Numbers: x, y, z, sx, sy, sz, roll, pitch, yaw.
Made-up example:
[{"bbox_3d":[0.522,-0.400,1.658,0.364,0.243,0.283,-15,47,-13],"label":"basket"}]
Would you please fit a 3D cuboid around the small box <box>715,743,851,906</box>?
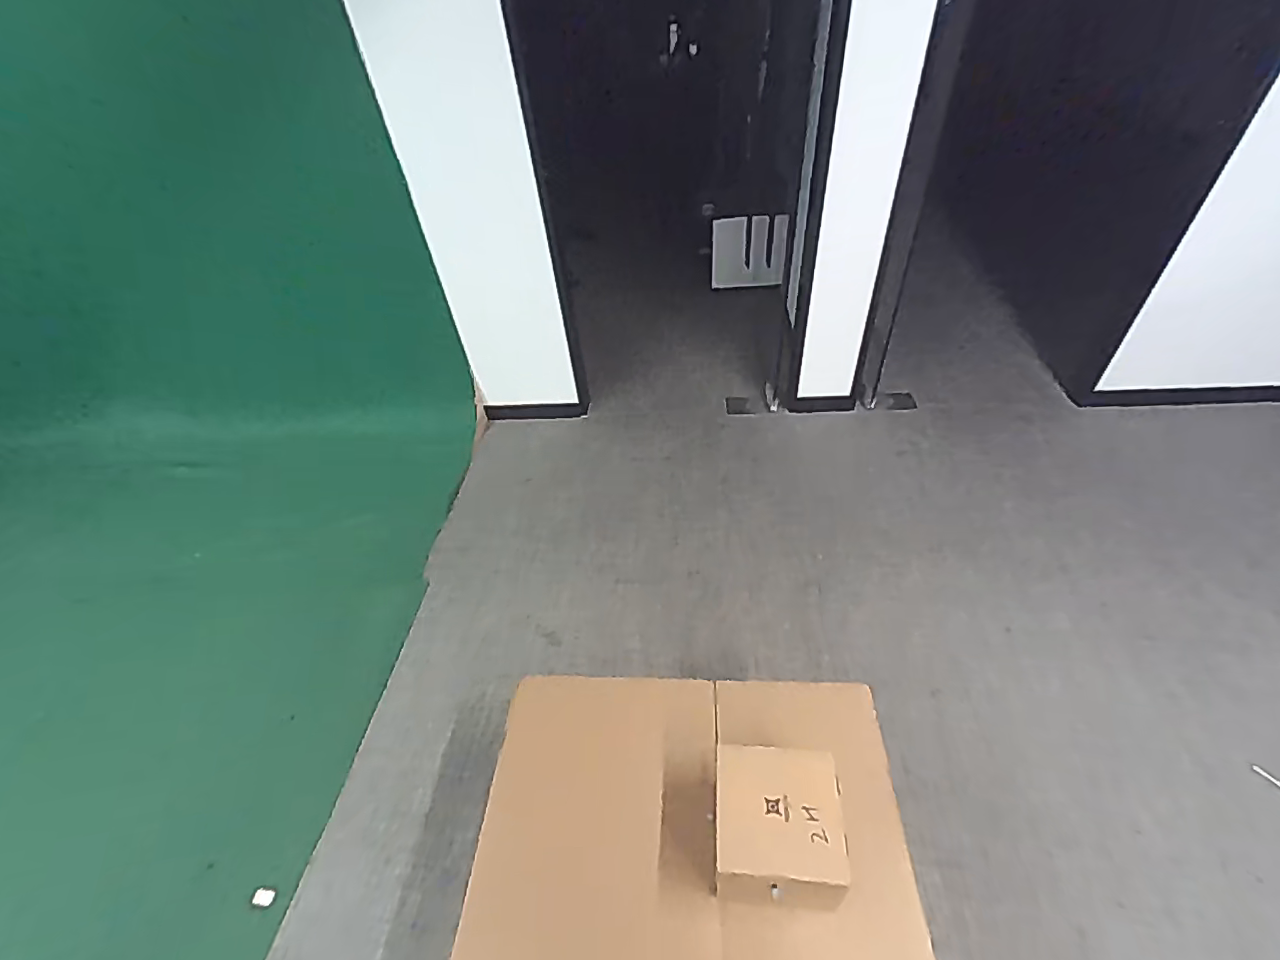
[{"bbox_3d":[0.205,0.517,0.813,0.179,0.176,0.168,0,43,9],"label":"small box"}]
